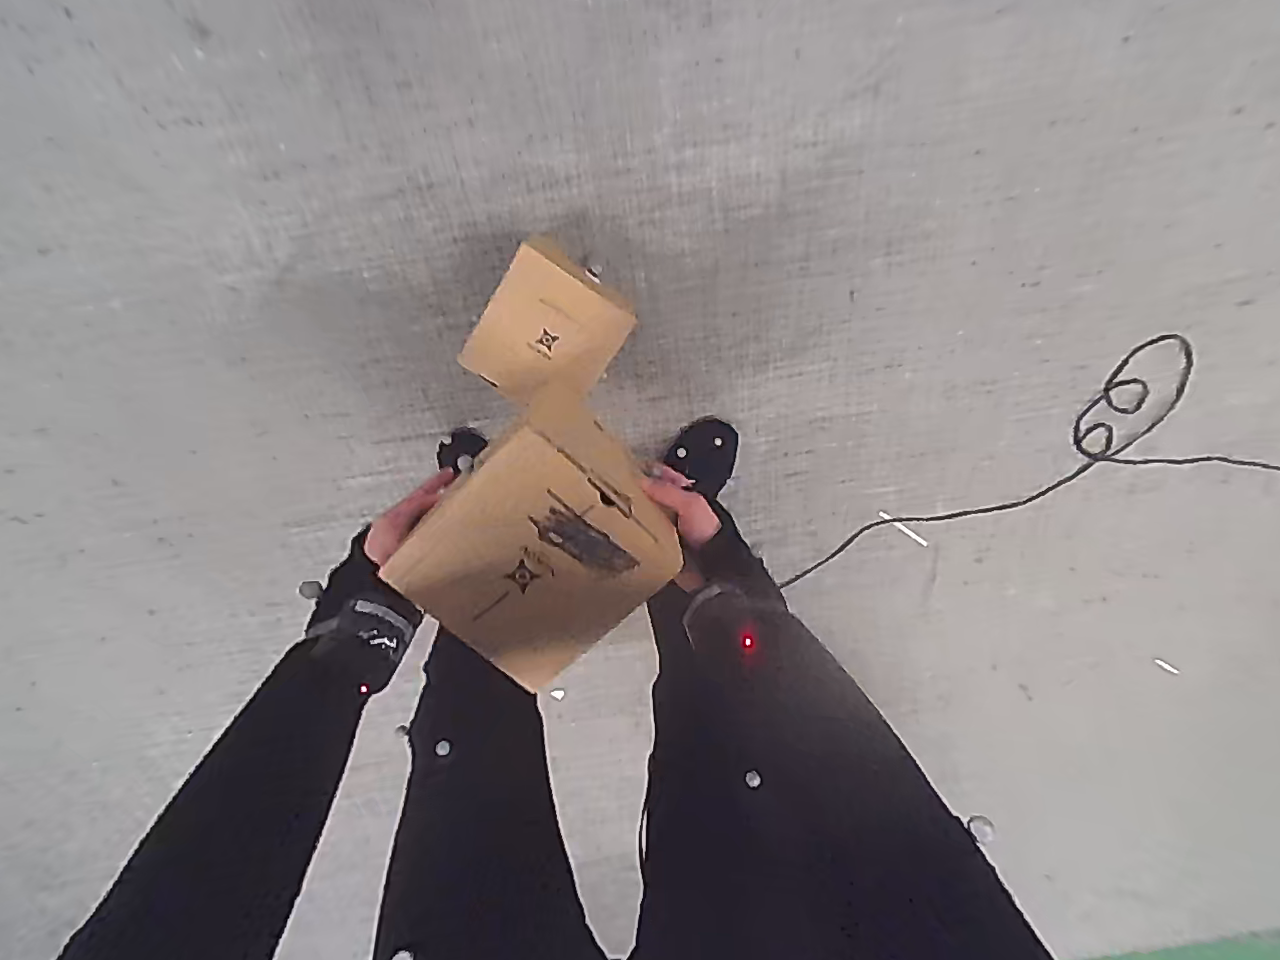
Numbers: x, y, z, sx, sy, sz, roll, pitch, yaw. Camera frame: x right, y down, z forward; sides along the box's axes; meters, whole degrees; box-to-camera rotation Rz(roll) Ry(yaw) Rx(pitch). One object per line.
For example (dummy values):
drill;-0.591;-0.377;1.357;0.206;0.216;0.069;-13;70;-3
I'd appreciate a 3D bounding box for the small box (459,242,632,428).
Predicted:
small box;-0.127;-0.209;0.763;0.168;0.176;0.179;30;111;-19
